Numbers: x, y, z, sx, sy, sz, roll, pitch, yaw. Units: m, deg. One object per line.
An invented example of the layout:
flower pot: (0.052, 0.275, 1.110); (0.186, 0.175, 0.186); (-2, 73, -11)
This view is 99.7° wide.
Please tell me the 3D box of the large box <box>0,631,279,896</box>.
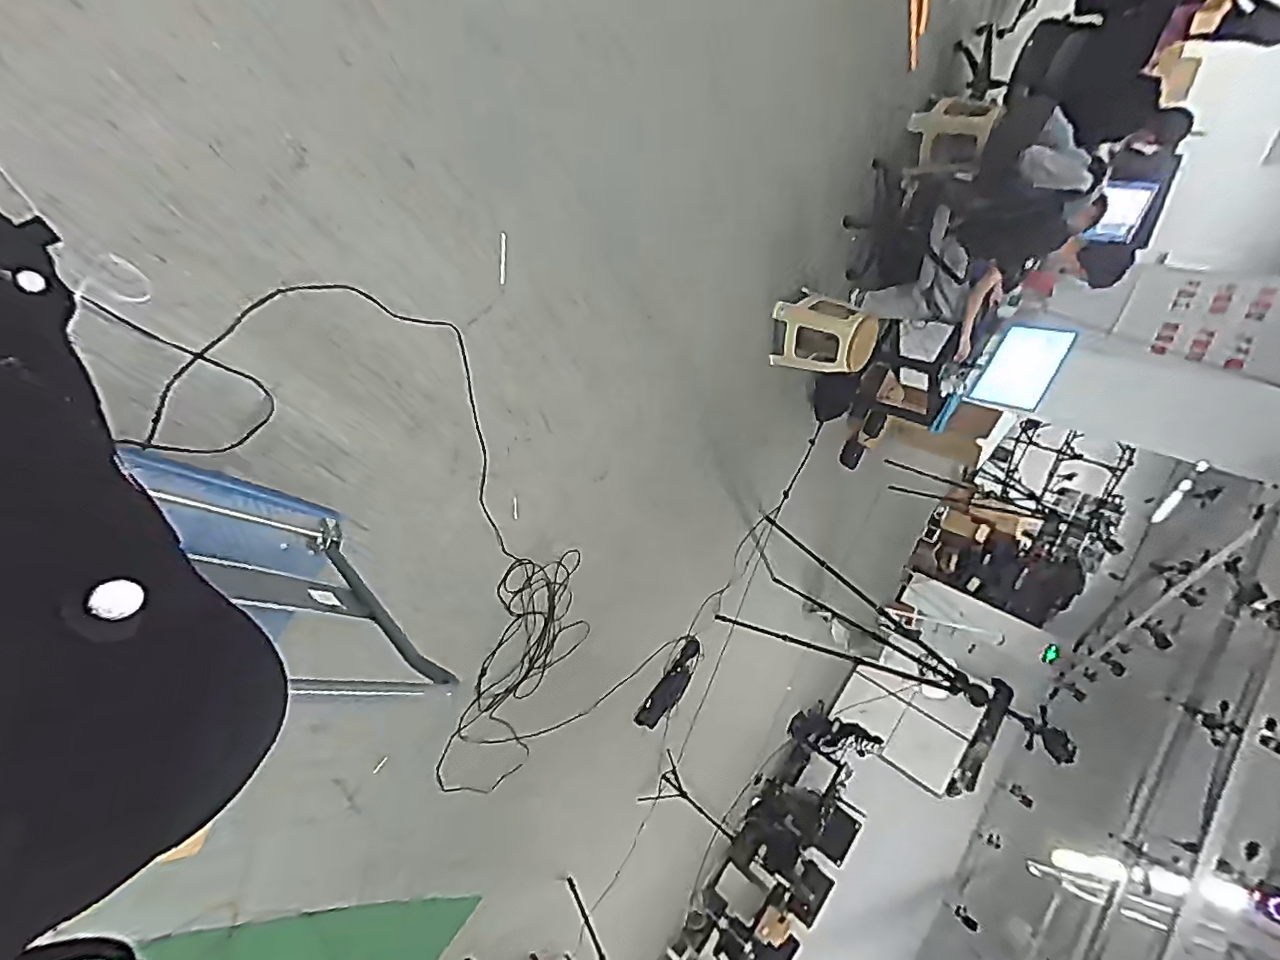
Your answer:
large box: (-1.023, 0.504, 1.039); (0.408, 0.320, 0.320); (26, 91, -56)
